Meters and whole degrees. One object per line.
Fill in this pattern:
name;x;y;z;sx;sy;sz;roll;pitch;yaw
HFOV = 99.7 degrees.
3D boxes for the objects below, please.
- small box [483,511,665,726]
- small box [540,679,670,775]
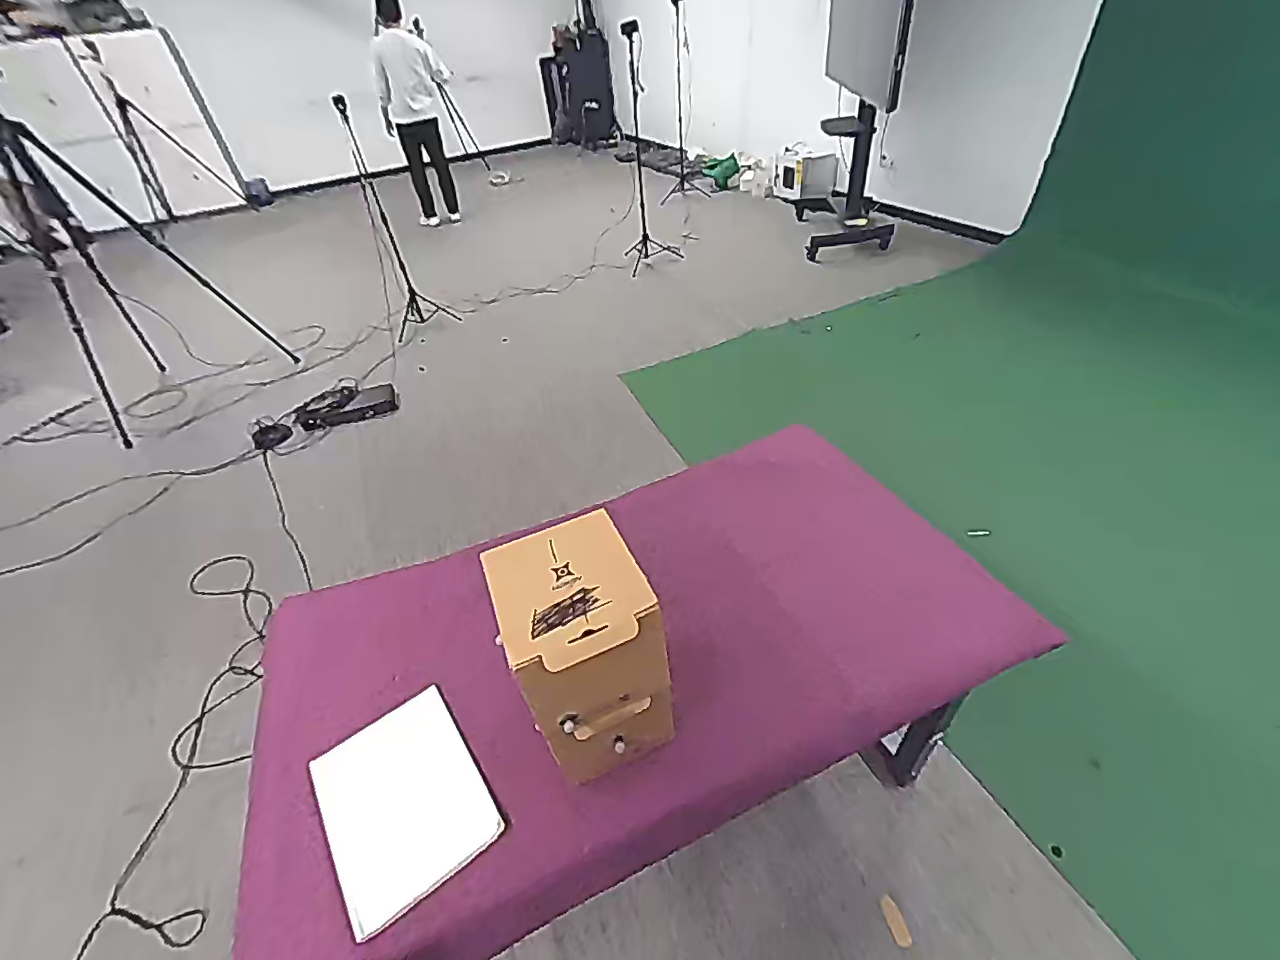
small box;-0.078;0.175;0.673;0.168;0.176;0.179;-19;41;-14
small box;-0.065;0.297;0.785;0.168;0.176;0.179;-19;43;-14
